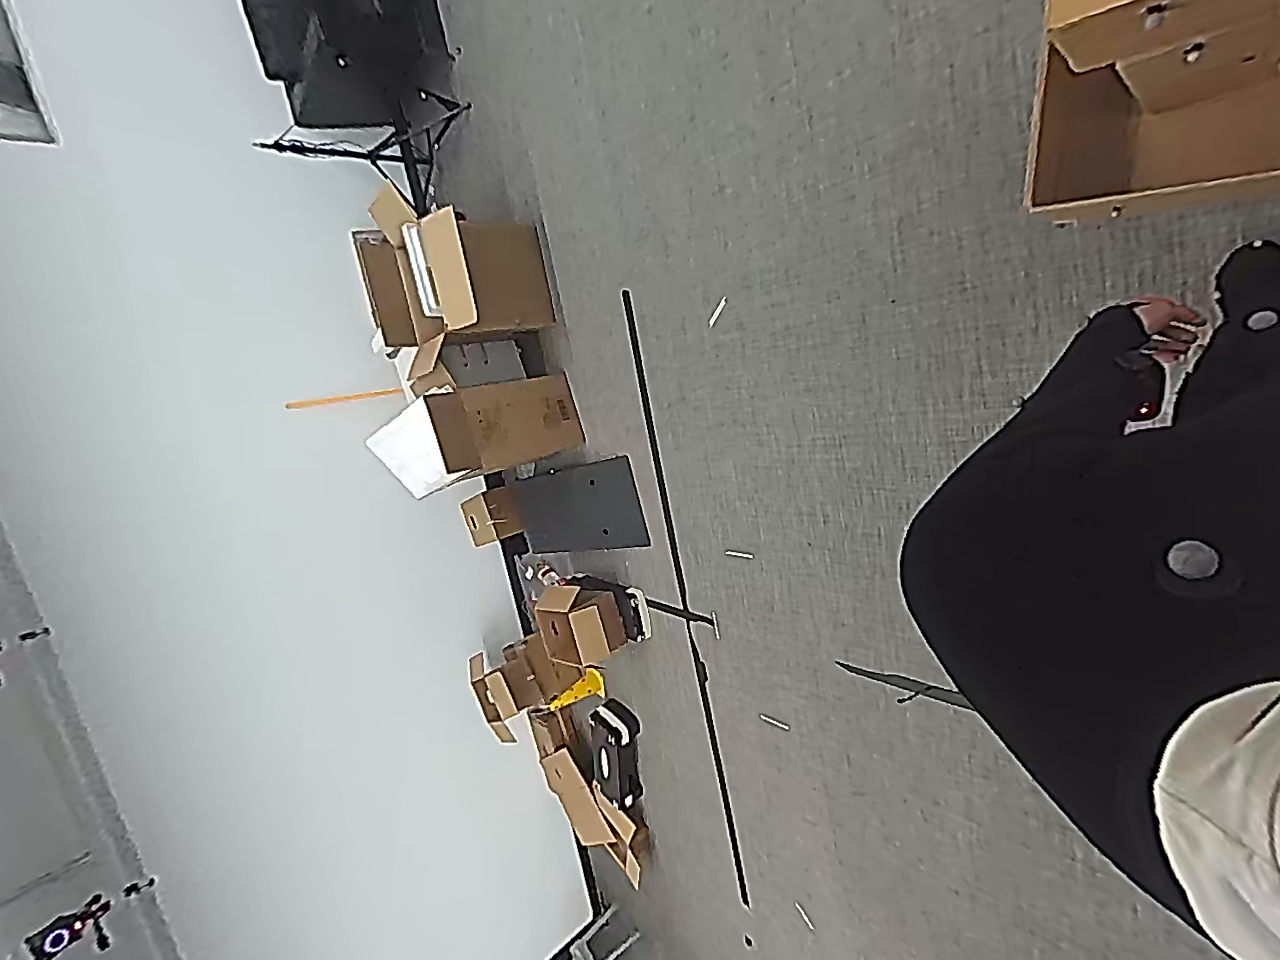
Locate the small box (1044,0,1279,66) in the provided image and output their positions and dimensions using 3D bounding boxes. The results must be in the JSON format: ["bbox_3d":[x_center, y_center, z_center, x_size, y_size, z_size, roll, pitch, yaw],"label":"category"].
[{"bbox_3d":[0.520,-0.533,0.512,0.179,0.176,0.168,14,114,46],"label":"small box"}]
